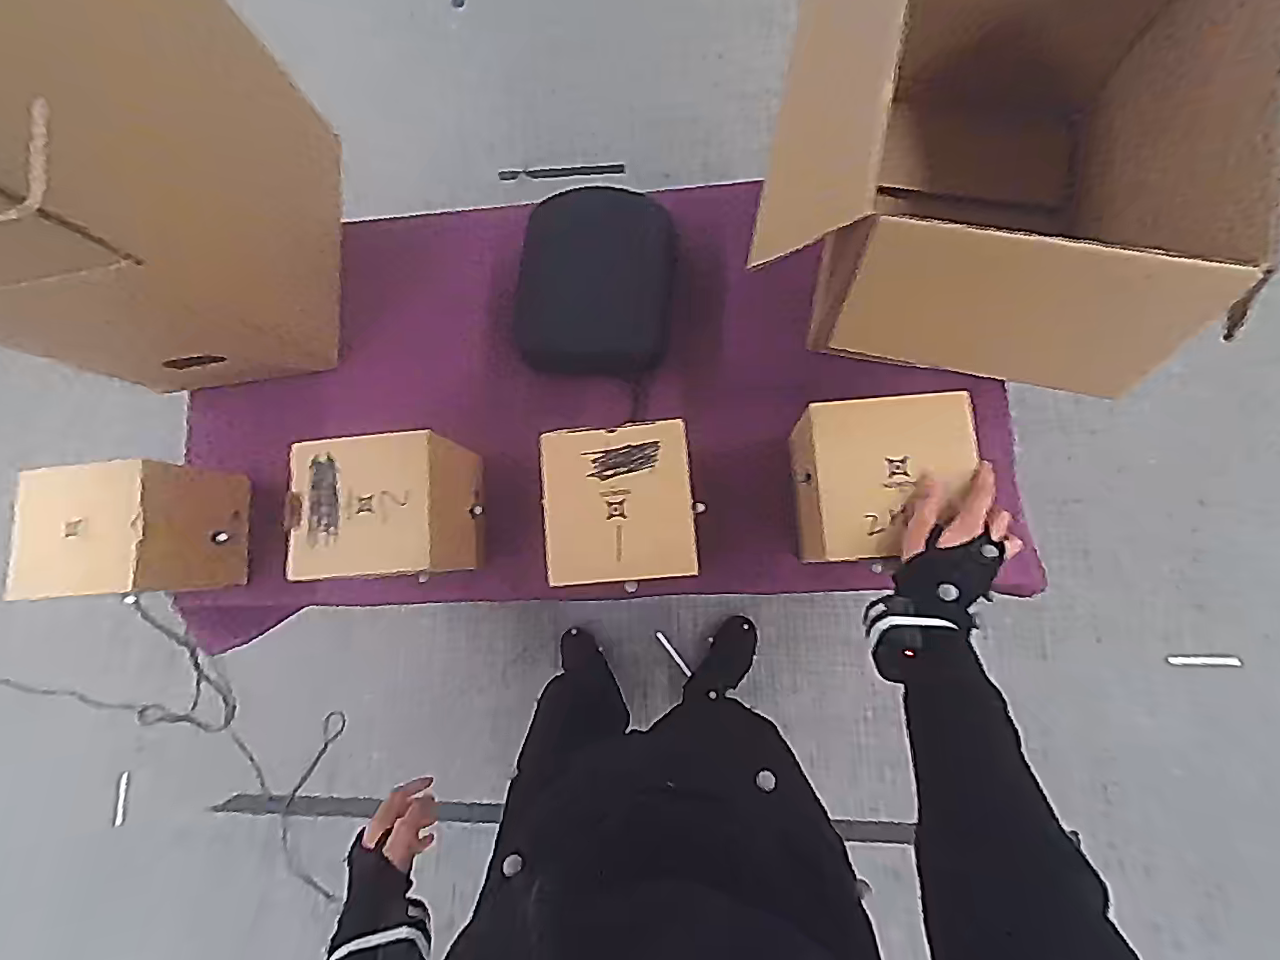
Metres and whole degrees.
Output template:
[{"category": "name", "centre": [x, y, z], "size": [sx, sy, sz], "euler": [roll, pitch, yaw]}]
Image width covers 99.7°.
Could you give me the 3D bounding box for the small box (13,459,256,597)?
[{"category": "small box", "centre": [-0.685, 0.073, 0.752], "size": [0.179, 0.176, 0.168], "euler": [-5, 80, 5]}]

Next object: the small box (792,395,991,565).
[{"category": "small box", "centre": [0.282, 0.011, 0.648], "size": [0.168, 0.176, 0.179], "euler": [-3, 81, 7]}]

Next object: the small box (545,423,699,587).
[{"category": "small box", "centre": [-0.015, 0.039, 0.679], "size": [0.168, 0.176, 0.179], "euler": [-5, 82, 6]}]
